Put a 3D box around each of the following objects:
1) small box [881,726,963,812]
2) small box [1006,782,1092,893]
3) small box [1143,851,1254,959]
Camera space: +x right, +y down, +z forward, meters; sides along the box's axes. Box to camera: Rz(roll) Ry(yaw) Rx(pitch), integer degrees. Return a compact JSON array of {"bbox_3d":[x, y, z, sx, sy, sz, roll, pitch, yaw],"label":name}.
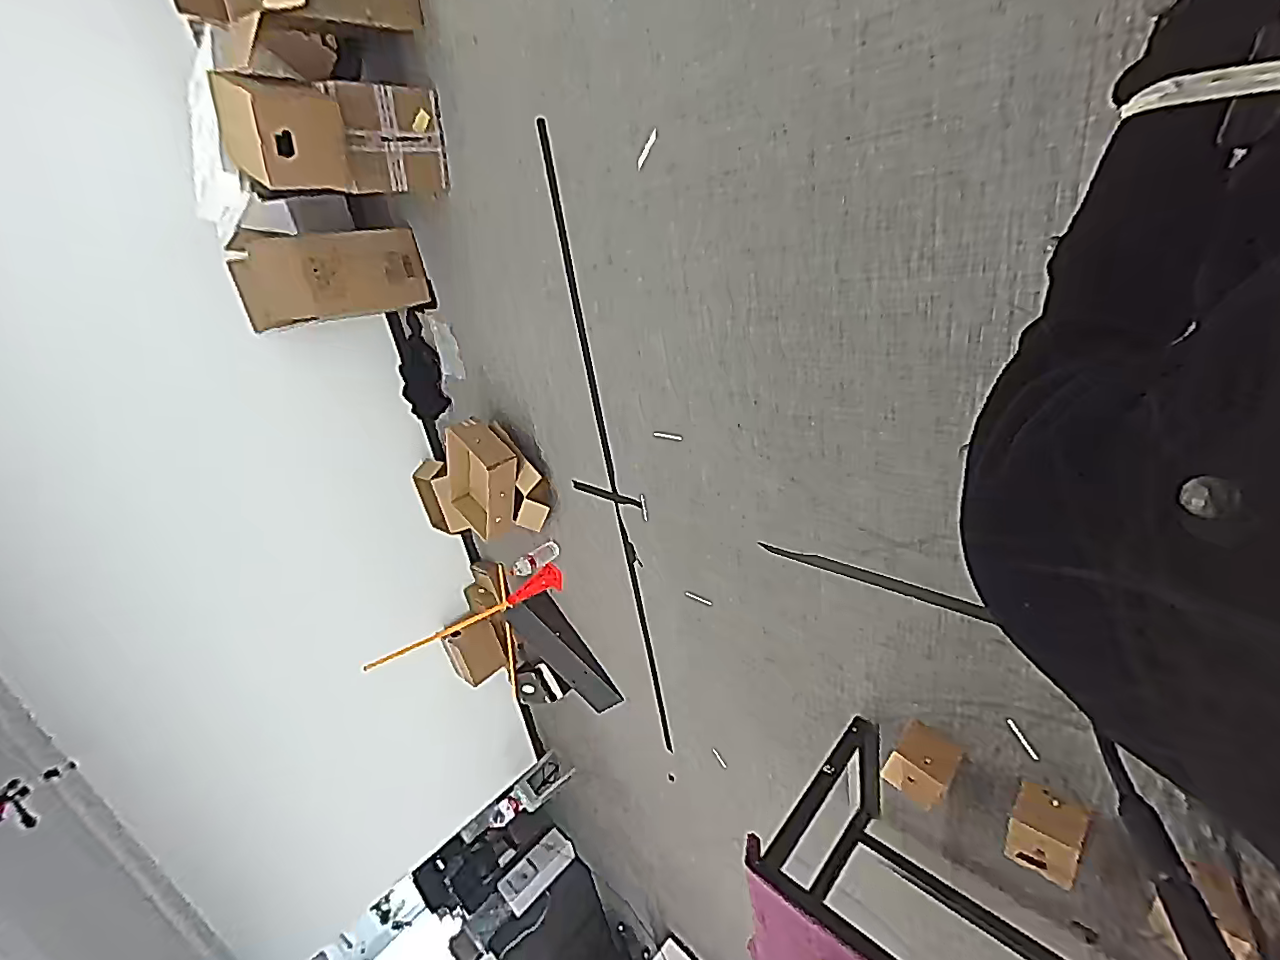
[{"bbox_3d":[0.966,0.976,1.850,0.179,0.176,0.168,30,133,32],"label":"small box"},{"bbox_3d":[1.217,1.056,1.608,0.168,0.176,0.179,14,122,44],"label":"small box"},{"bbox_3d":[1.440,1.120,1.393,0.168,0.176,0.179,17,126,43],"label":"small box"}]
